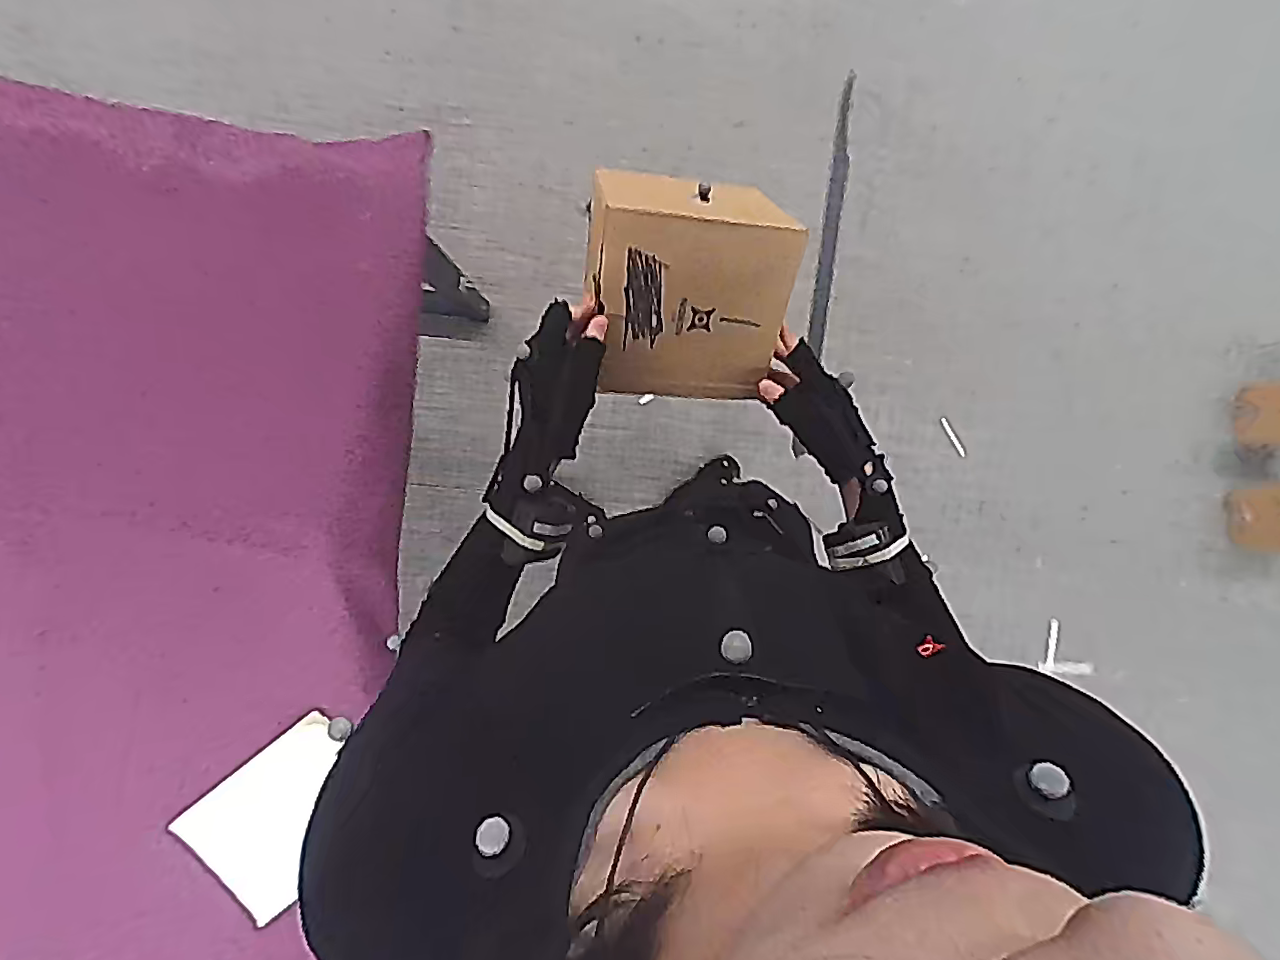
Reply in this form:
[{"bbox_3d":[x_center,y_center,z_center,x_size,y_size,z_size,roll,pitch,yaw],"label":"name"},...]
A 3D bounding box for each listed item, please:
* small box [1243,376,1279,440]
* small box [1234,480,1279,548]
[{"bbox_3d":[1.872,-0.200,1.521,0.168,0.176,0.179,5,93,-3],"label":"small box"},{"bbox_3d":[1.873,0.096,1.541,0.179,0.176,0.168,-13,93,-1],"label":"small box"}]
